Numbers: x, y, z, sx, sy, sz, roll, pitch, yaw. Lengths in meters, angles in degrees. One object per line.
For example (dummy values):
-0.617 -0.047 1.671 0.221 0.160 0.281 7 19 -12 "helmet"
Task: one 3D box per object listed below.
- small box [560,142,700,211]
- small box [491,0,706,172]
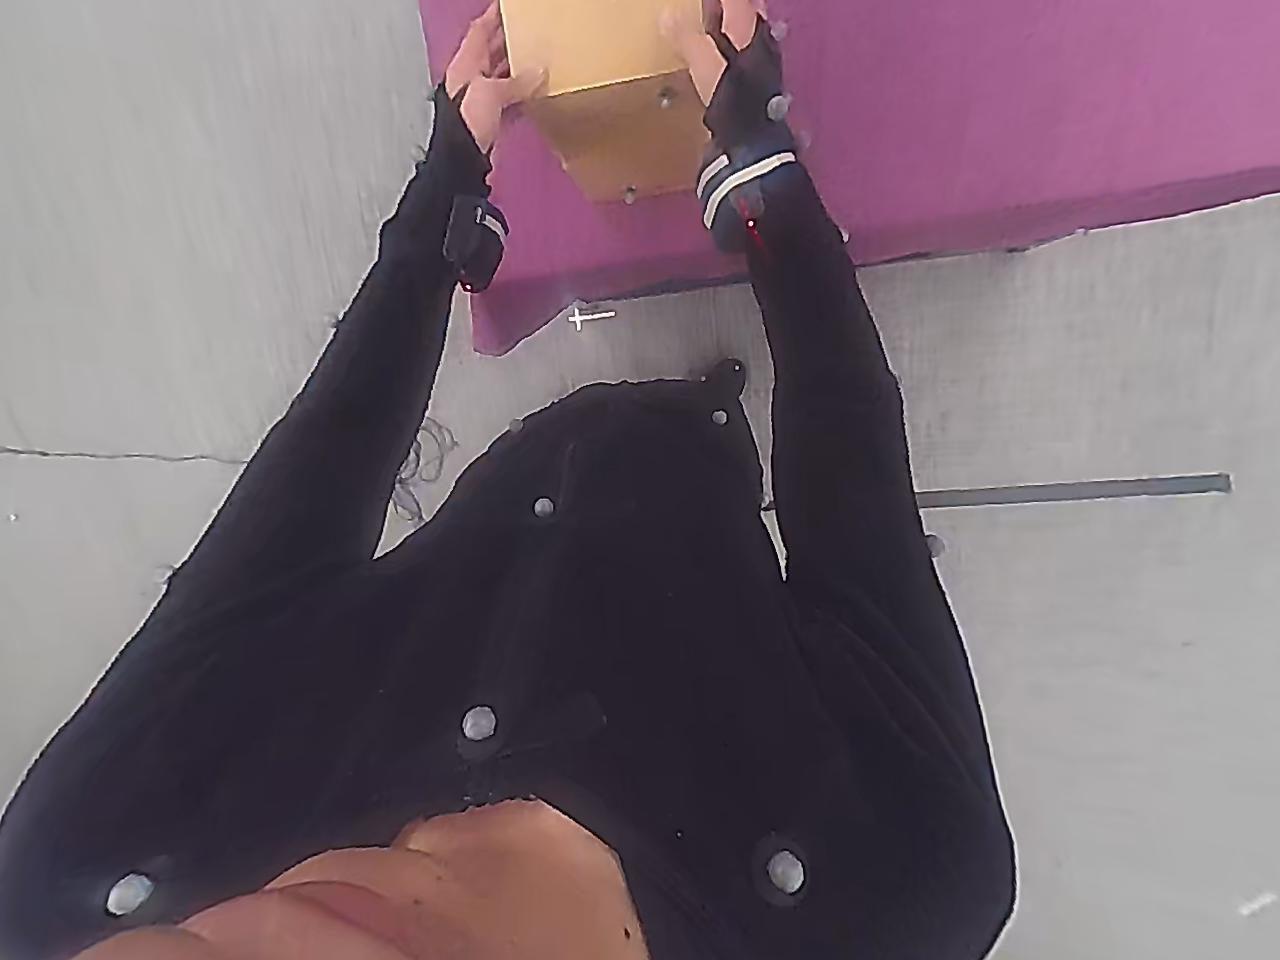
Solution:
-0.013 -0.464 0.684 0.168 0.176 0.179 -4 102 9 "small box"
-0.031 -0.426 0.528 0.179 0.176 0.168 -6 102 8 "small box"
